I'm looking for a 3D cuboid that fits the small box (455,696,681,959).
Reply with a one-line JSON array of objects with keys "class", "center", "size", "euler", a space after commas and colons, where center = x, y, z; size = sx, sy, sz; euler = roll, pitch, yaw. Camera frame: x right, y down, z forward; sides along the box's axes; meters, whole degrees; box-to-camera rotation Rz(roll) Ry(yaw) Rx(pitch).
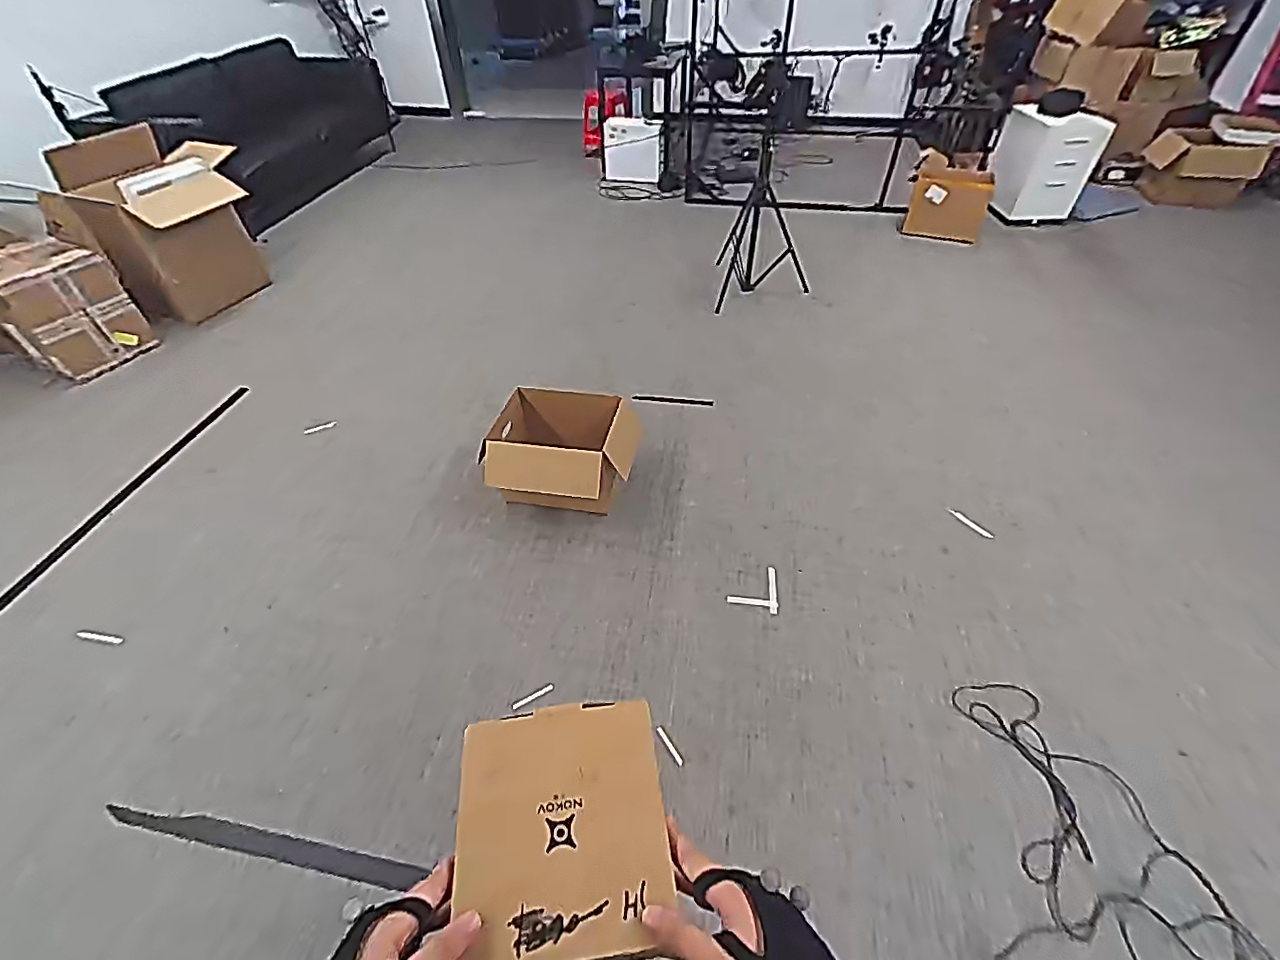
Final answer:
[{"class": "small box", "center": [-0.059, 0.326, 0.501], "size": [0.168, 0.176, 0.179], "euler": [-6, 48, -4]}]
